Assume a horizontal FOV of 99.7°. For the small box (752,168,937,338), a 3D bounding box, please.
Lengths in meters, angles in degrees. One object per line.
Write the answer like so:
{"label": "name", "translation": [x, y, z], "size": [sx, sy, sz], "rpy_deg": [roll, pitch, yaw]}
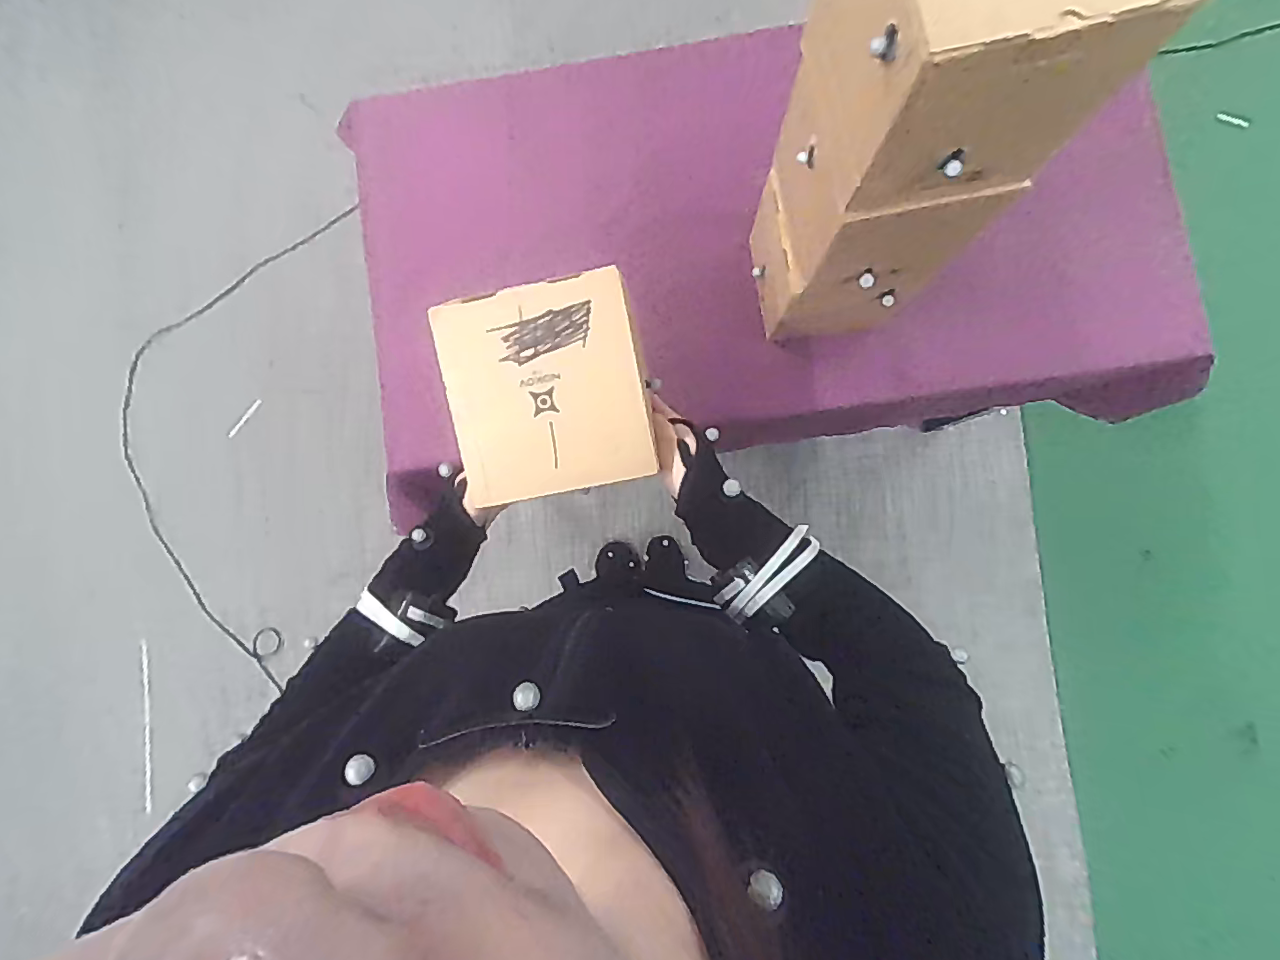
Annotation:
{"label": "small box", "translation": [0.260, -0.305, 0.727], "size": [0.179, 0.176, 0.168], "rpy_deg": [-8, 85, 3]}

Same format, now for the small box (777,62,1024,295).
{"label": "small box", "translation": [0.250, -0.320, 0.565], "size": [0.168, 0.176, 0.179], "rpy_deg": [-9, 86, 3]}

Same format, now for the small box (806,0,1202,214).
{"label": "small box", "translation": [0.237, -0.338, 0.404], "size": [0.168, 0.176, 0.179], "rpy_deg": [-11, 86, 3]}
